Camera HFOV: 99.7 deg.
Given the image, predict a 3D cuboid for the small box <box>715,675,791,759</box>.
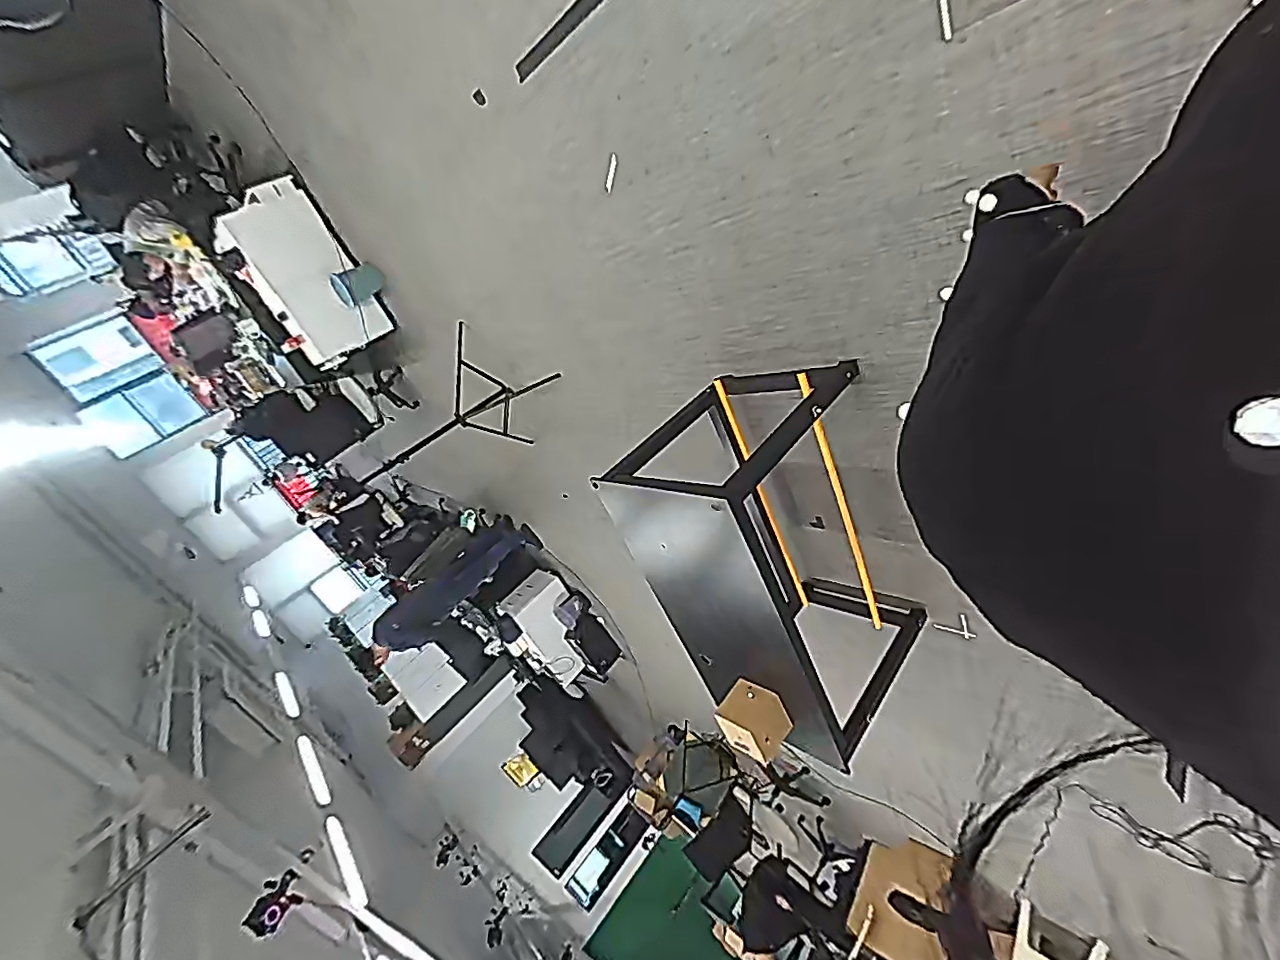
[{"bbox_3d":[0.401,0.824,1.890,0.168,0.176,0.179,5,129,51],"label":"small box"}]
